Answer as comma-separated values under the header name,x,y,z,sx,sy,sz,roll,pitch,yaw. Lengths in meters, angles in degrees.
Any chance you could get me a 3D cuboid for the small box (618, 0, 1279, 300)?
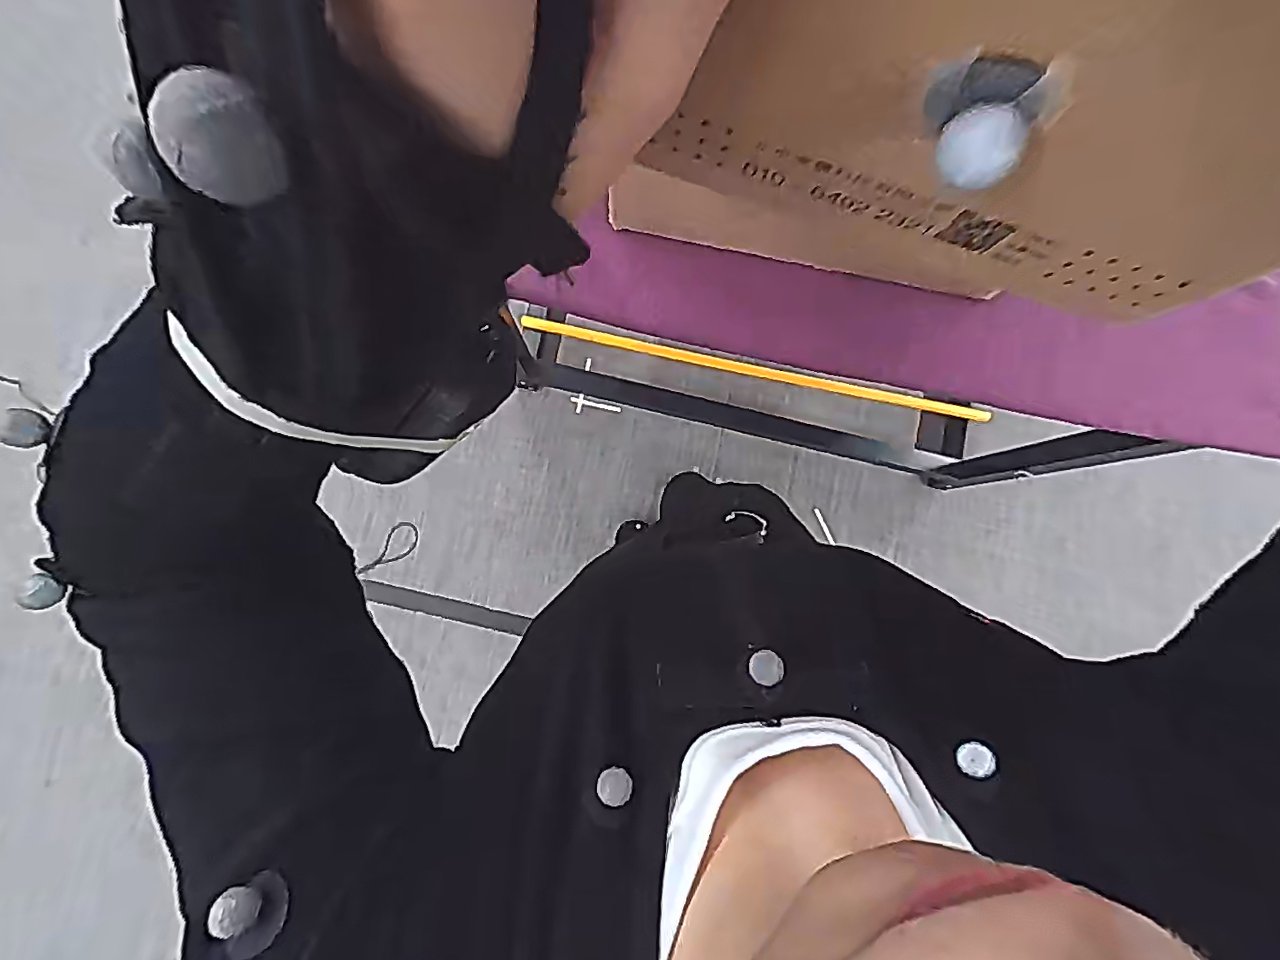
name,x,y,z,sx,sy,sz,roll,pitch,yaw
small box,0.094,-0.156,0.073,0.168,0.176,0.179,18,87,-1
